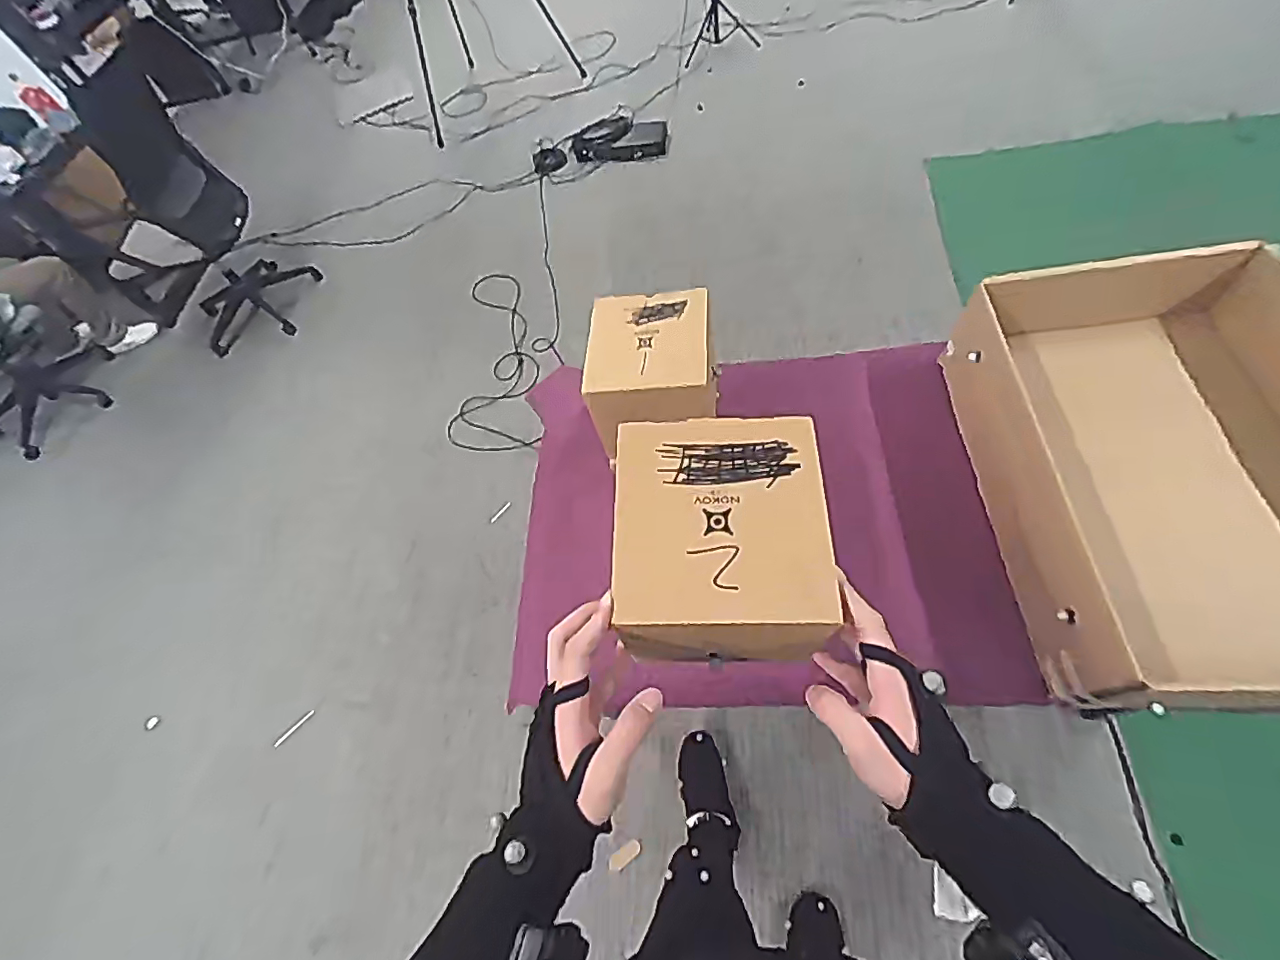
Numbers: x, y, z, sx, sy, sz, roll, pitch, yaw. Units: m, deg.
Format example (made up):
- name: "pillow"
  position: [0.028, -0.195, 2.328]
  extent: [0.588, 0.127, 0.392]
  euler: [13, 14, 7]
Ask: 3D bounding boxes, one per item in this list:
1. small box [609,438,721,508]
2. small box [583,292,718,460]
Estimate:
- name: "small box"
  position: [0.048, -0.061, 0.934]
  extent: [0.168, 0.176, 0.179]
  euler: [-5, 58, 9]
- name: "small box"
  position: [0.025, -0.147, 0.795]
  extent: [0.168, 0.176, 0.179]
  euler: [-2, 60, 11]
